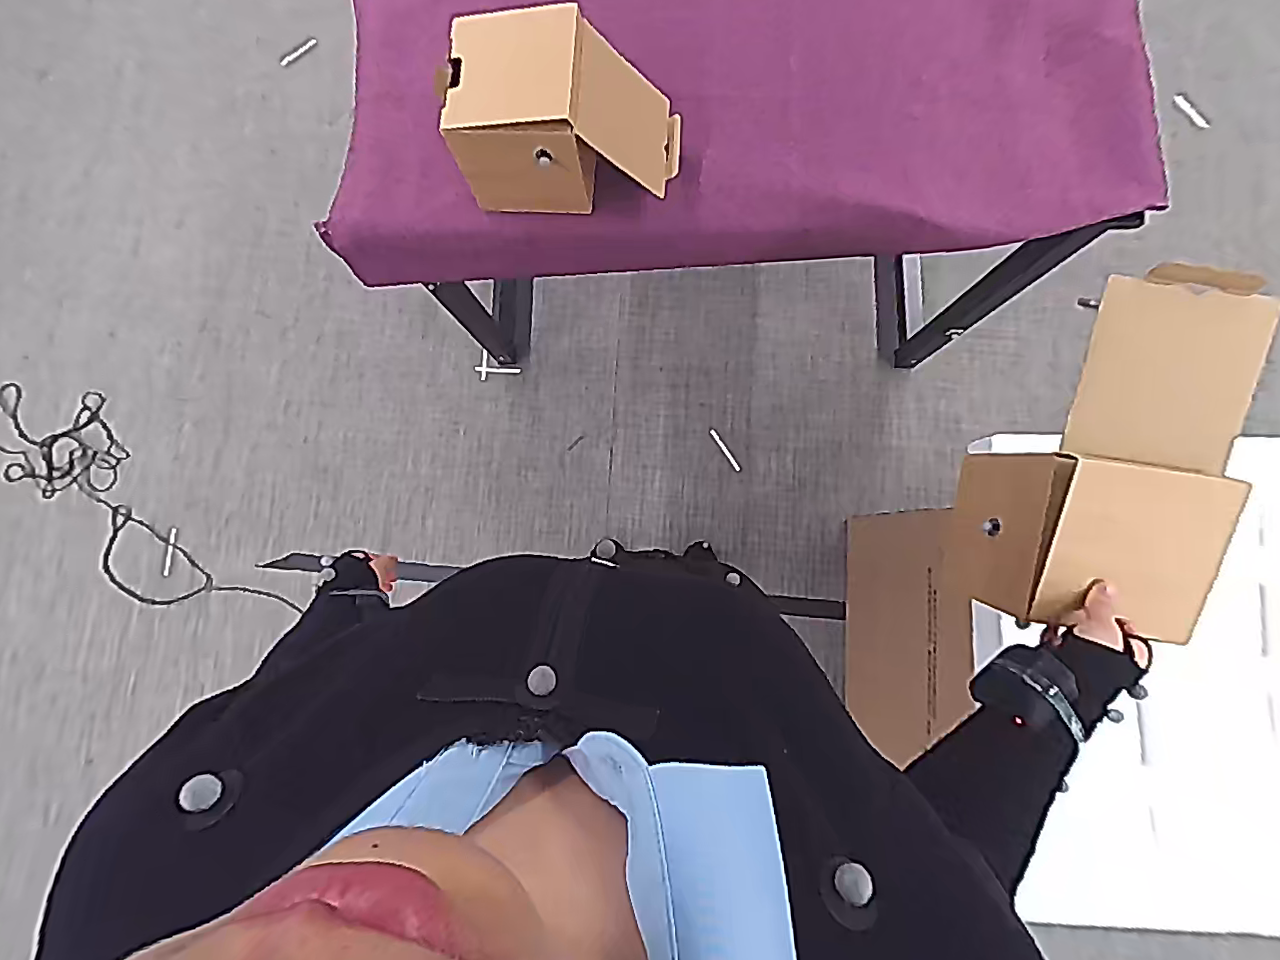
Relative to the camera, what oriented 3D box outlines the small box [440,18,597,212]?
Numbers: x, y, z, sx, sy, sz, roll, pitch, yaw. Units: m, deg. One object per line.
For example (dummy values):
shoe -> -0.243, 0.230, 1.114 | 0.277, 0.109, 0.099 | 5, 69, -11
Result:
small box -> -0.160, -0.509, 0.775 | 0.179, 0.176, 0.168 | 3, 82, 3
